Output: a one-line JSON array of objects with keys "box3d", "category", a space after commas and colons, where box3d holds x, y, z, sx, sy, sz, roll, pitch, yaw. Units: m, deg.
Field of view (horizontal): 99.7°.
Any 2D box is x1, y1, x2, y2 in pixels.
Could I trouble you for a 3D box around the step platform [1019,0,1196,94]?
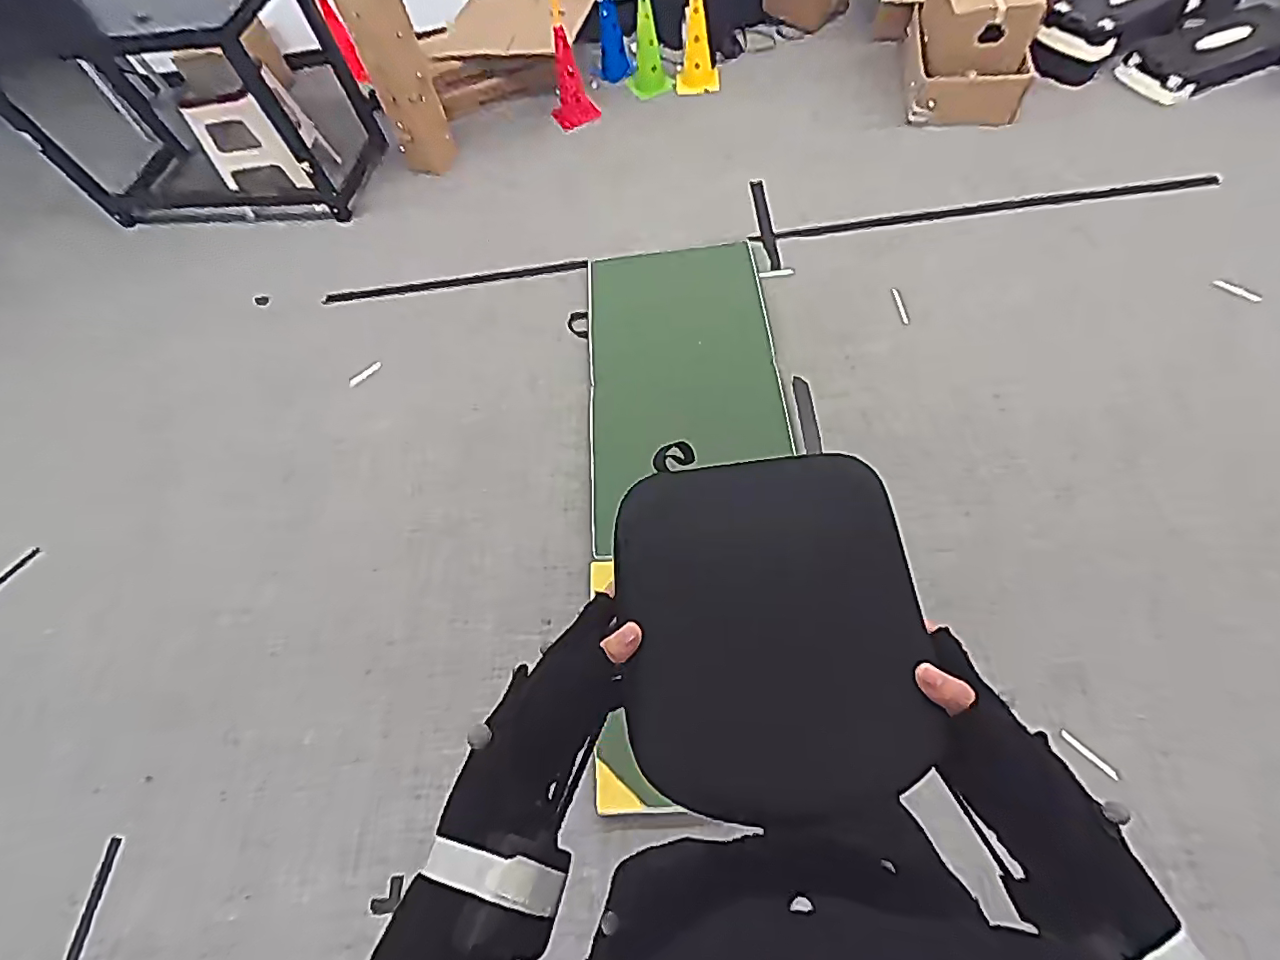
[{"box3d": [1.994, -1.916, 2.297, 0.684, 0.204, 0.286, -32, 63, -9], "category": "step platform"}]
